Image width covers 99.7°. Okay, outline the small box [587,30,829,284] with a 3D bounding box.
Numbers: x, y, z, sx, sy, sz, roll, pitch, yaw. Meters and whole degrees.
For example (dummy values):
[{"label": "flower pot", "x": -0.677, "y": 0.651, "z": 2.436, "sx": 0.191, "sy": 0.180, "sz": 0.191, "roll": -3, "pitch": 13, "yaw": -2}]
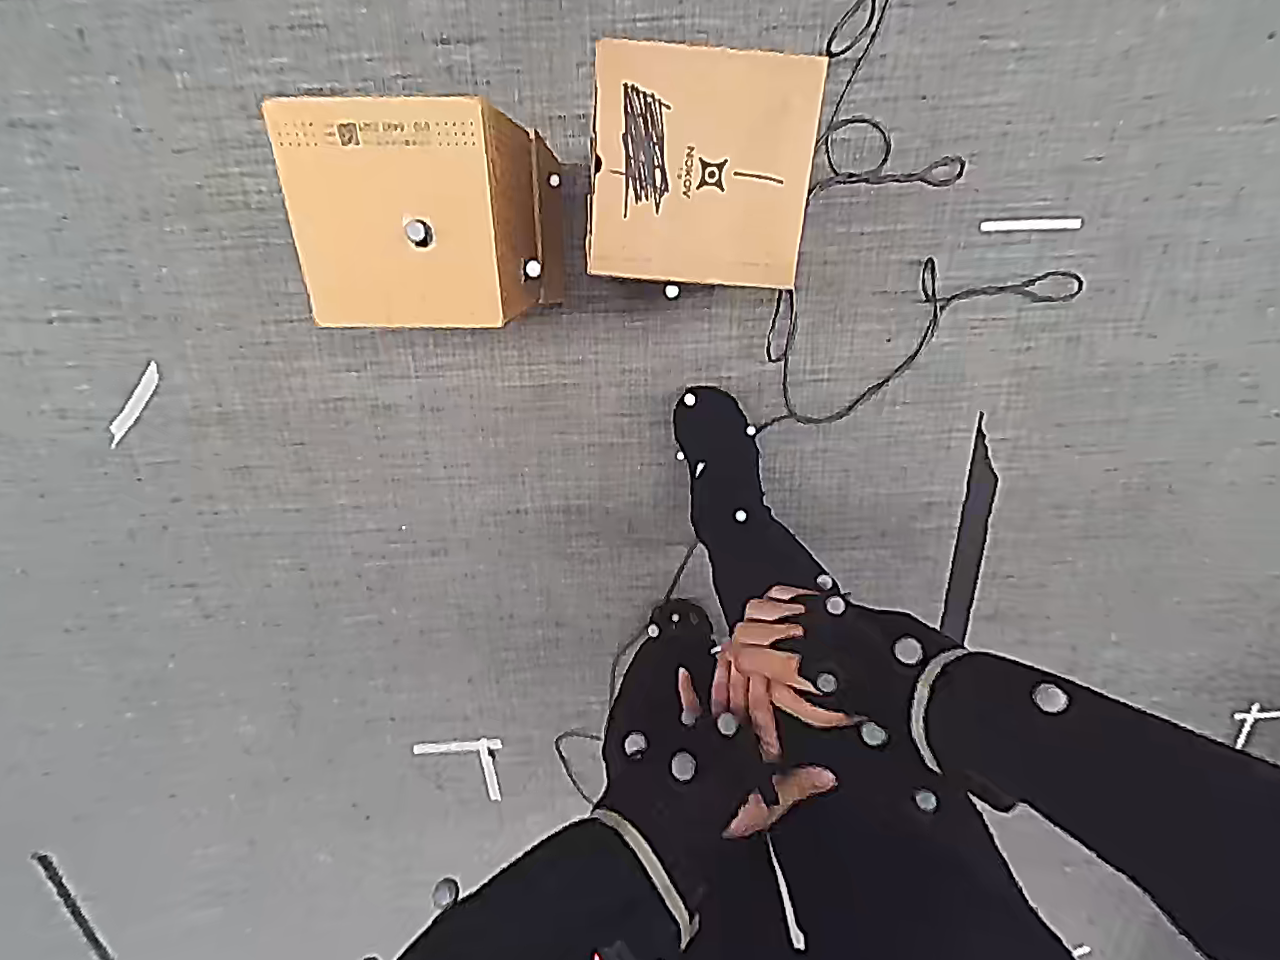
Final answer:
[{"label": "small box", "x": 0.049, "y": -0.276, "z": 0.502, "sx": 0.179, "sy": 0.176, "sz": 0.168, "roll": 4, "pitch": 110, "yaw": -2}]
